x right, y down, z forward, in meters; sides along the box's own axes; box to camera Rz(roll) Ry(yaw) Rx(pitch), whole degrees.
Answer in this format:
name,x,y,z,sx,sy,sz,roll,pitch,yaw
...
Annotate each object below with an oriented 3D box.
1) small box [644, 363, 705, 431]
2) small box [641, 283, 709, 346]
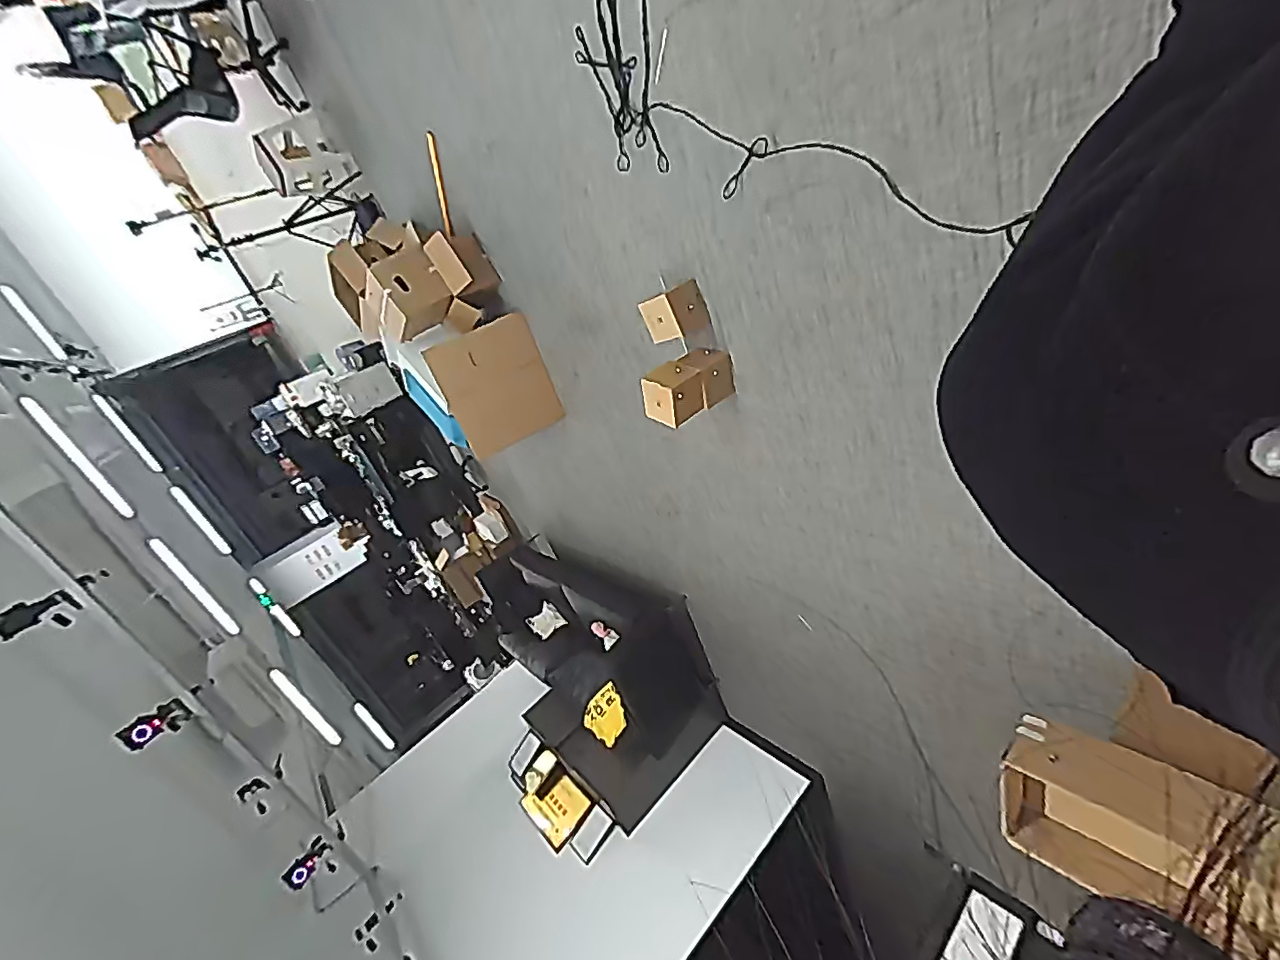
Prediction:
name,x,y,z,sx,sy,sz,roll,pitch,yaw
small box,0.138,-0.325,2.094,0.168,0.176,0.179,29,142,38
small box,0.143,-0.638,2.079,0.179,0.176,0.168,4,124,55
